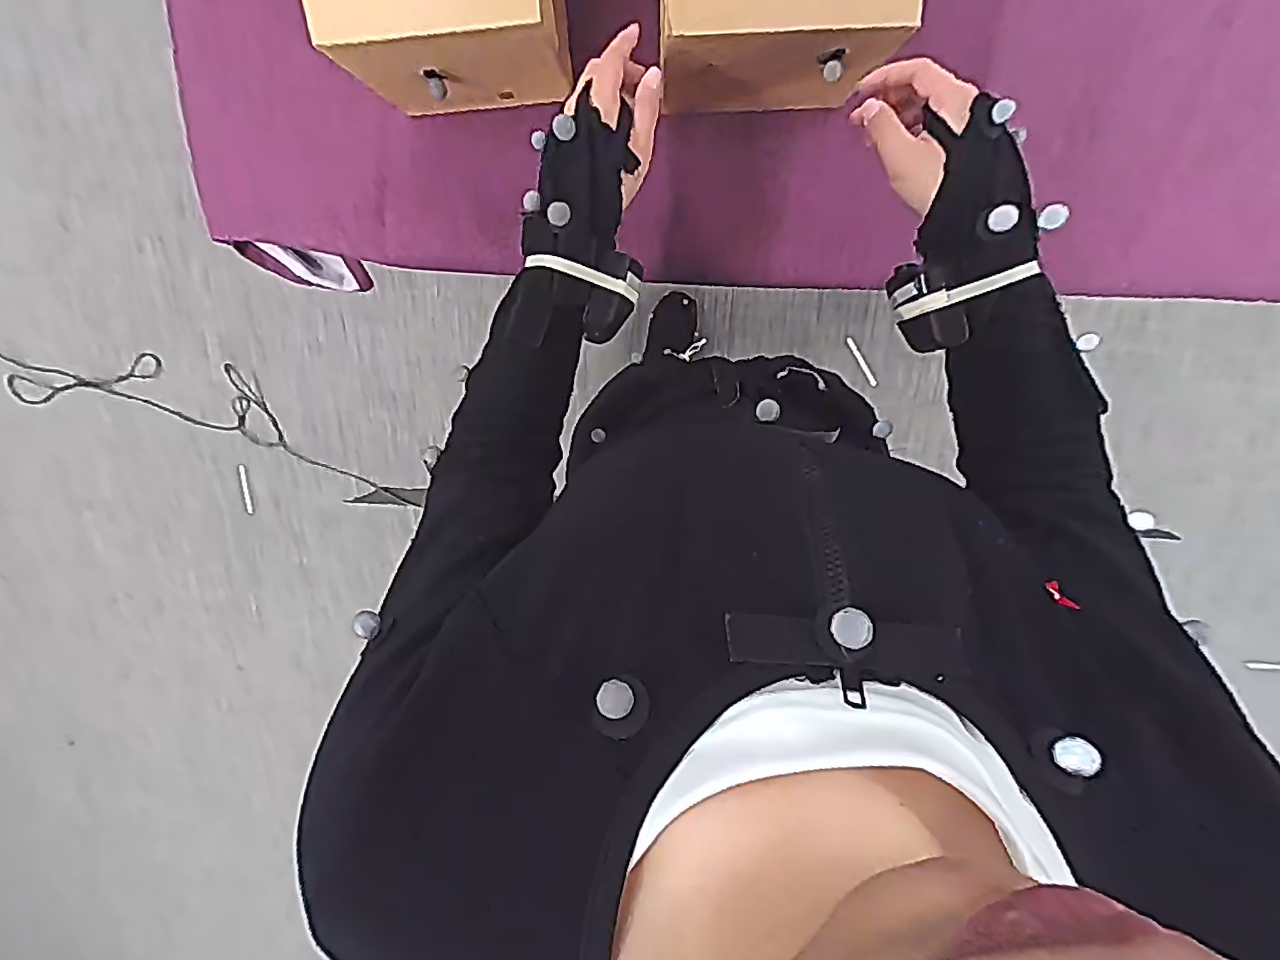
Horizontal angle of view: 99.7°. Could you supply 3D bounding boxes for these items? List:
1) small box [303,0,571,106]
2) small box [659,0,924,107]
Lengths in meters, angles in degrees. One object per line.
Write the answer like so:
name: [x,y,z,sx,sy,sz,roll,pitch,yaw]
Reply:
small box: [-0.153,-0.420,0.424,0.168,0.176,0.179,-4,108,3]
small box: [0.104,-0.412,0.419,0.179,0.176,0.168,-1,108,2]
